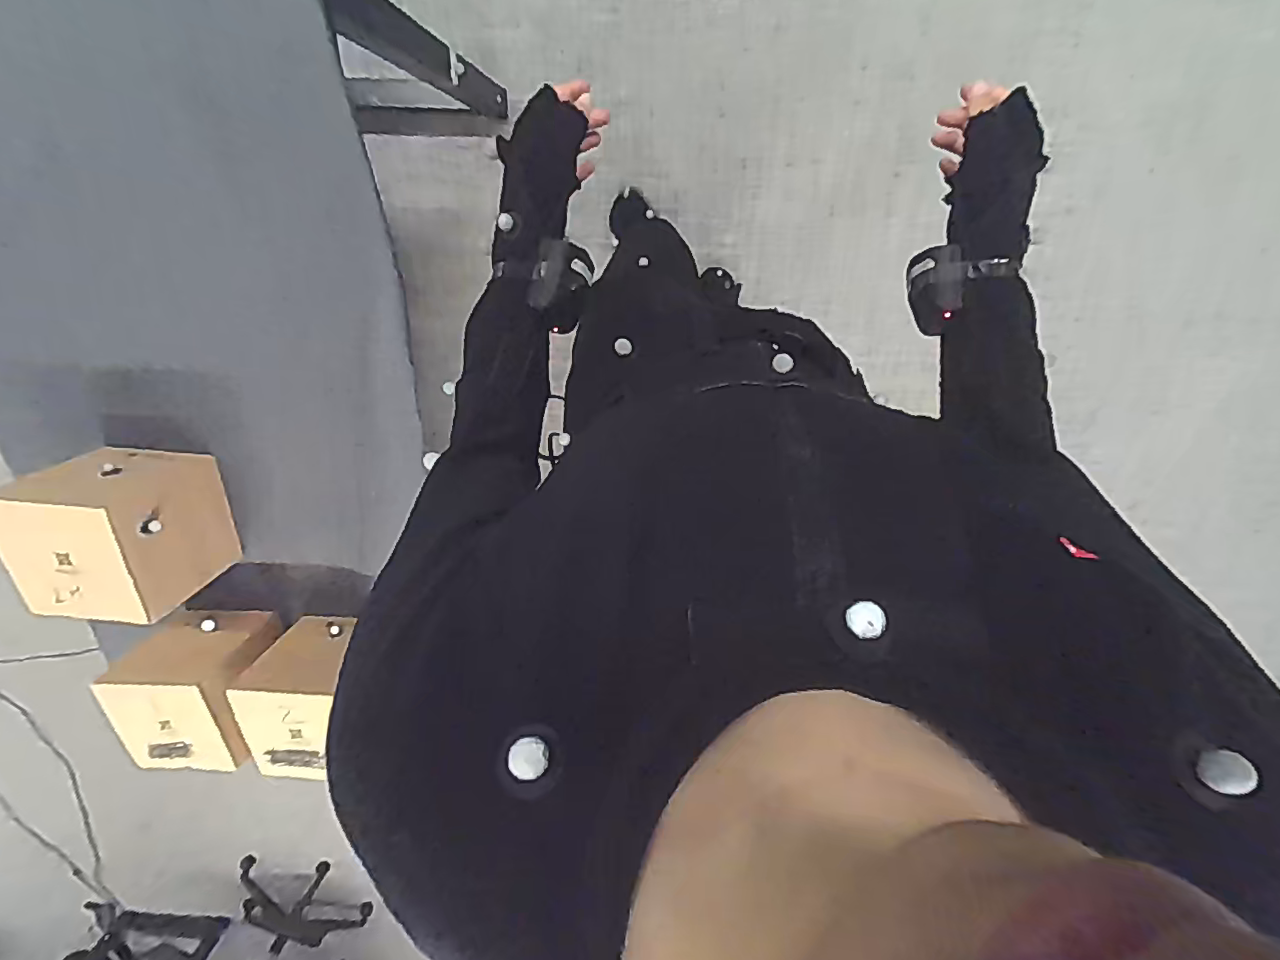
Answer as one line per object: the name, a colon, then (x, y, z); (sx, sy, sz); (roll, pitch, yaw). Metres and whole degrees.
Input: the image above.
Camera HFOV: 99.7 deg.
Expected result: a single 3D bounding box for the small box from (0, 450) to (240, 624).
small box: (-0.704, 0.069, 0.745); (0.168, 0.176, 0.179); (6, 115, 2)
